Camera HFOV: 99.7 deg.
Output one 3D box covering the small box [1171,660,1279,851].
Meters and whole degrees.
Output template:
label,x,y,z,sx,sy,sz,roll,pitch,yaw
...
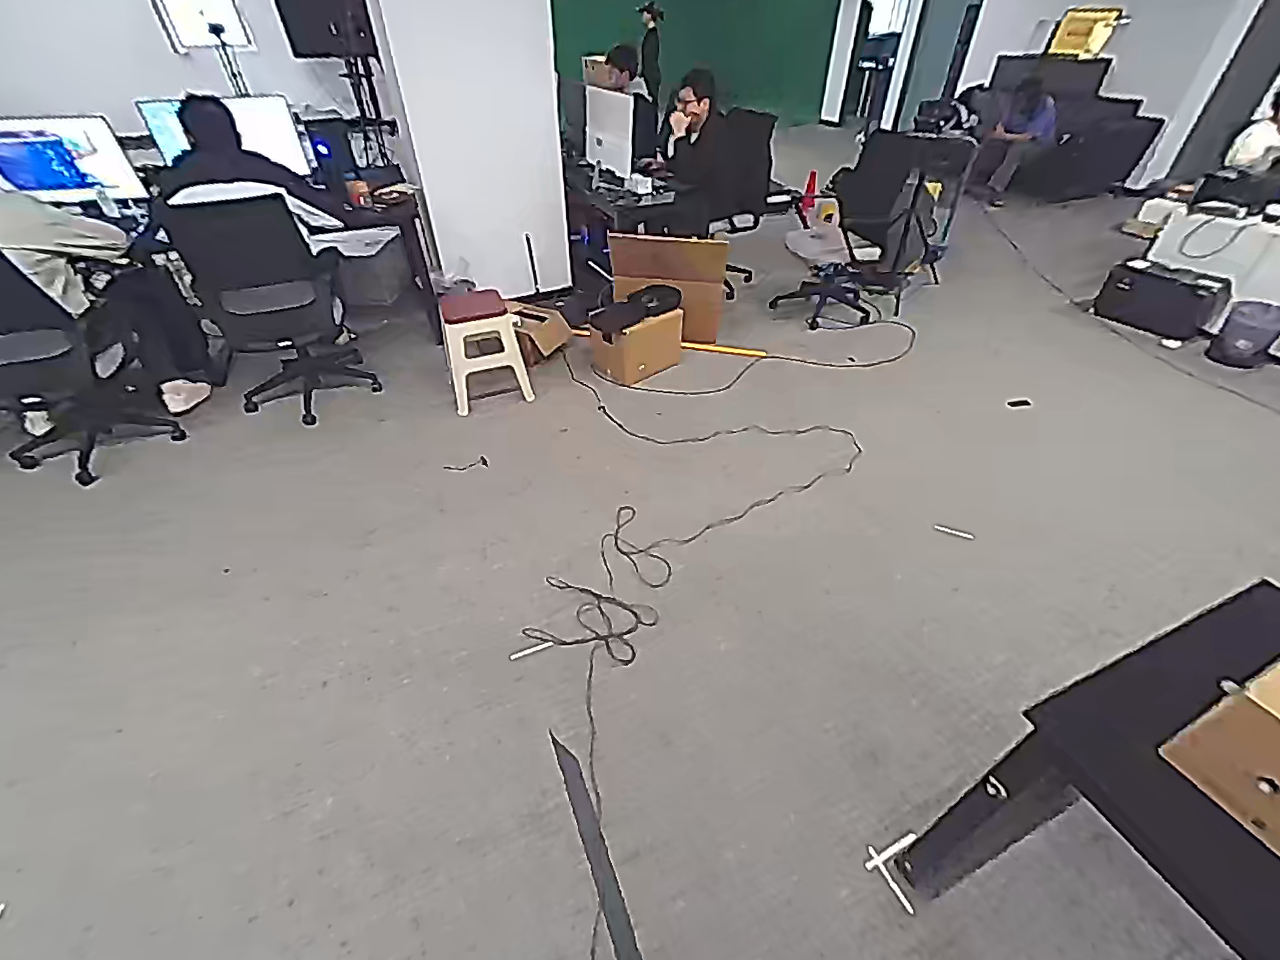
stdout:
label,x,y,z,sx,sy,sz,roll,pitch,yaw
small box,0.823,0.335,0.663,0.179,0.176,0.168,-18,44,-19
